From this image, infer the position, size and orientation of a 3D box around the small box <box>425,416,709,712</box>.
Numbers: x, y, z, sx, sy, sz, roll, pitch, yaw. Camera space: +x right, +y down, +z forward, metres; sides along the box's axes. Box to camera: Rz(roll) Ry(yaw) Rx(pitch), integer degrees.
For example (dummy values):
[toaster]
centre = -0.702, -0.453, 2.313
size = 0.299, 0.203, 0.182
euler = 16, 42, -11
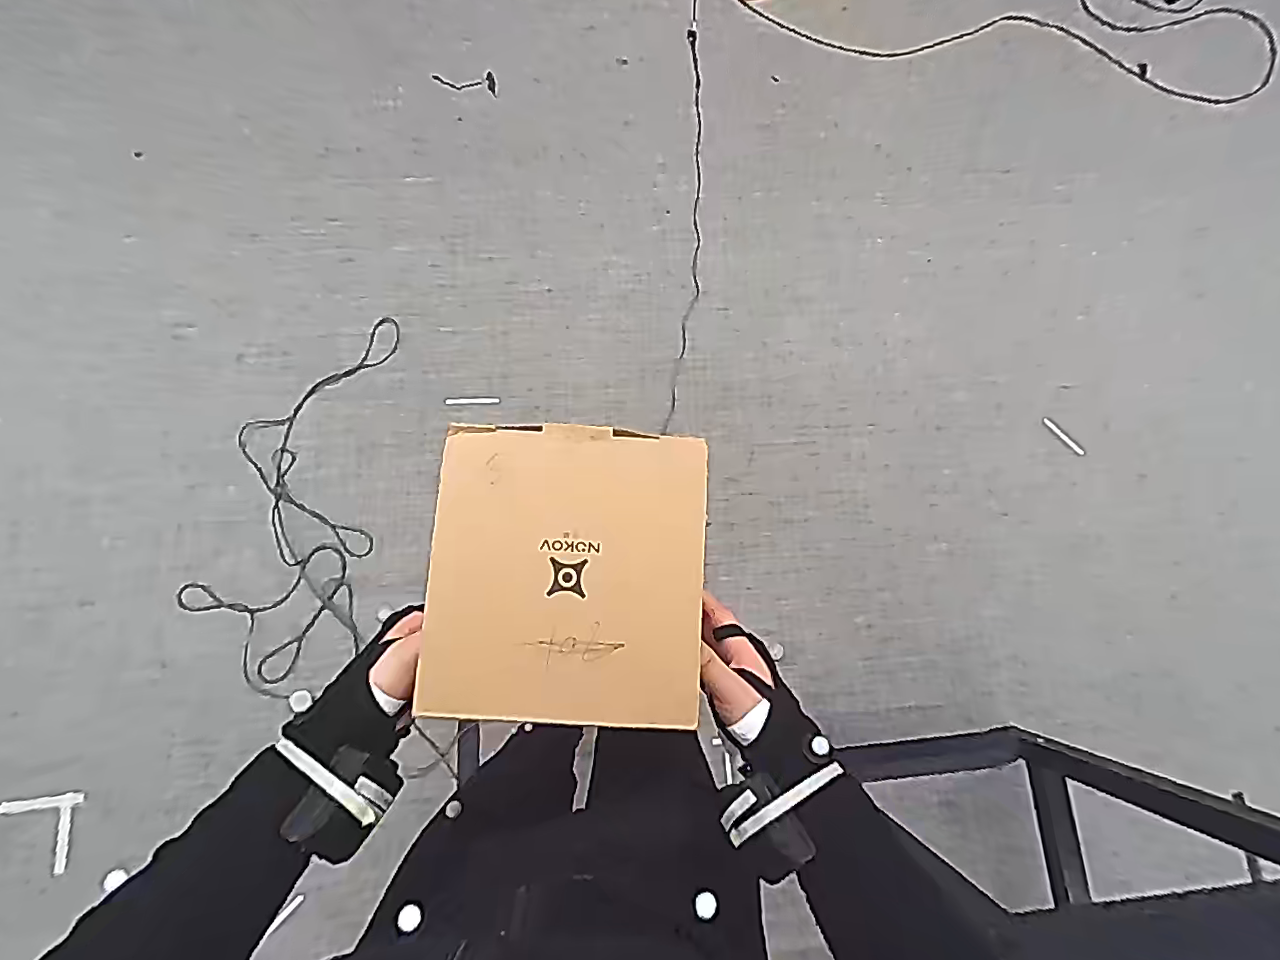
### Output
[small box]
centre = -0.044, 0.061, 0.411
size = 0.168, 0.176, 0.179
euler = 3, 81, -1
